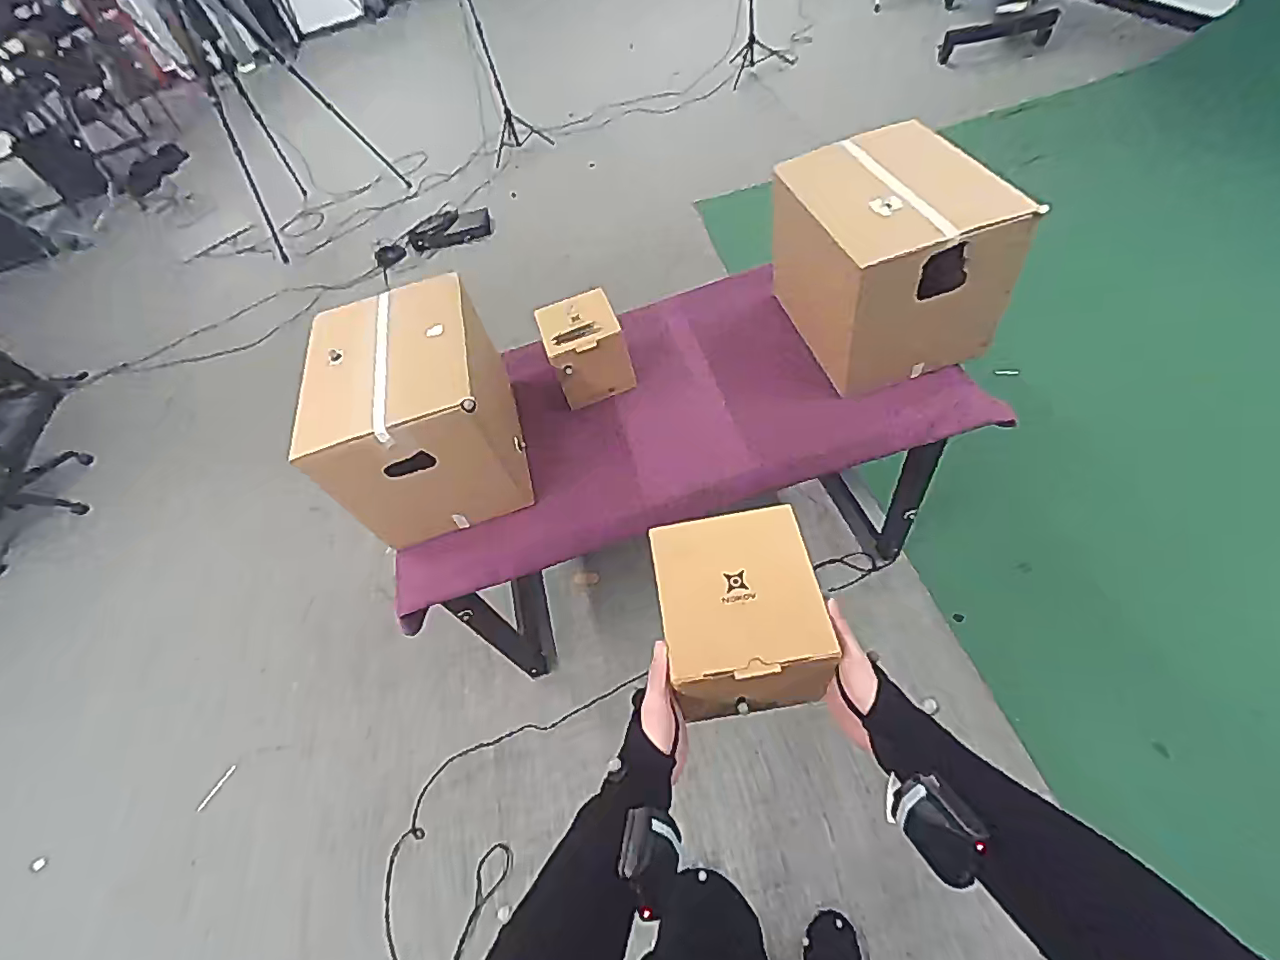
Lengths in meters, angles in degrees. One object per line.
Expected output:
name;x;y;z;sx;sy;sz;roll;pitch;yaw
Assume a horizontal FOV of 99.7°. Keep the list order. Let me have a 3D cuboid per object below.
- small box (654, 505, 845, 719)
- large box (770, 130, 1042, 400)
small box;0.113;0.156;0.626;0.168;0.176;0.179;-10;54;1
large box;0.489;-0.441;1.114;0.320;0.320;0.408;-18;53;1
